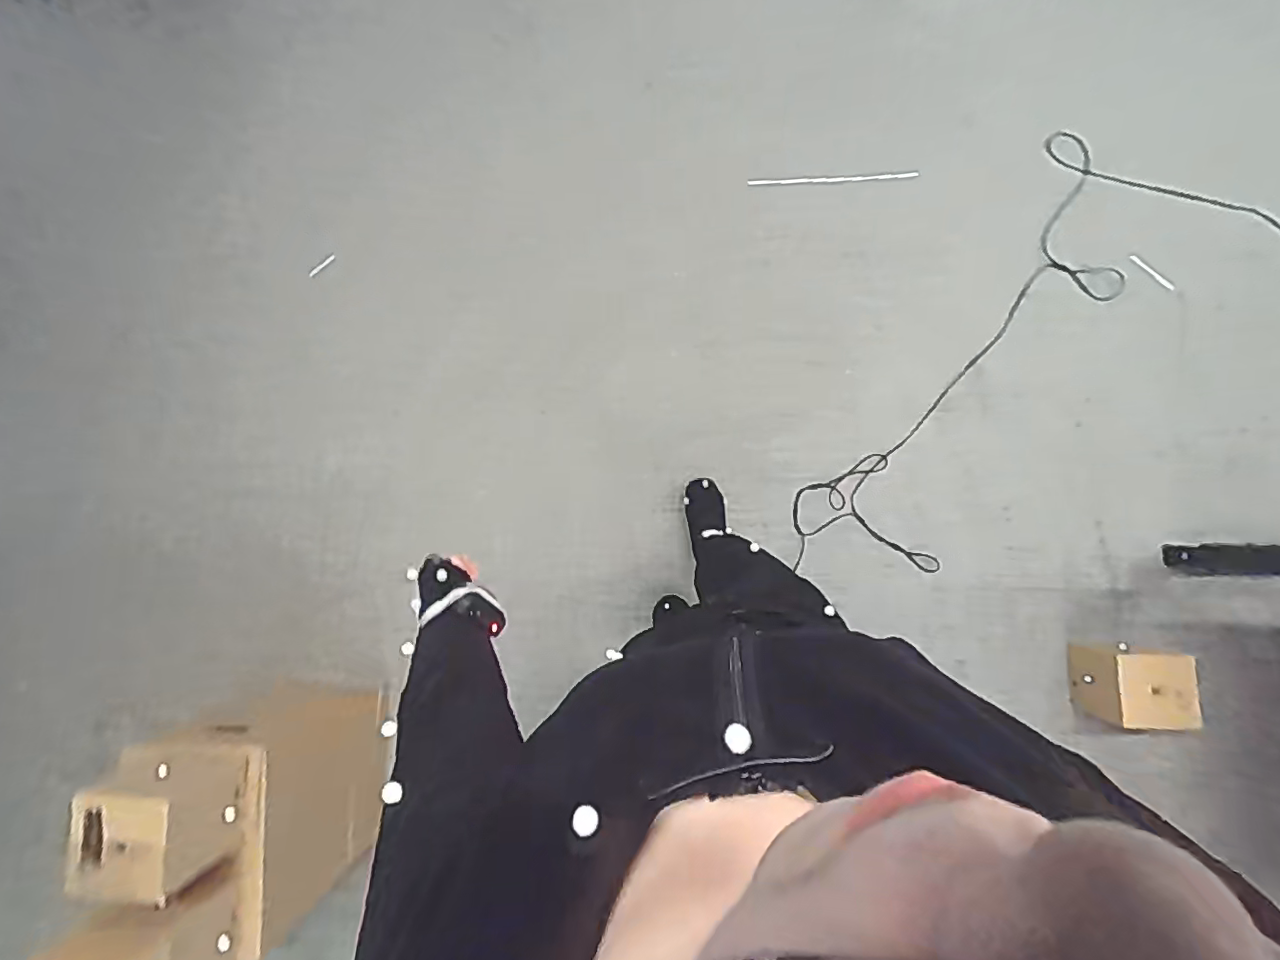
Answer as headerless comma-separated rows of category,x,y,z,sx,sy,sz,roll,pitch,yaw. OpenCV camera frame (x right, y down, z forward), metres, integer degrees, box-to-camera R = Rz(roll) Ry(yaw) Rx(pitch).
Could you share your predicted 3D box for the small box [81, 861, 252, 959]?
small box,-0.858,0.828,0.983,0.179,0.176,0.168,0,84,2
